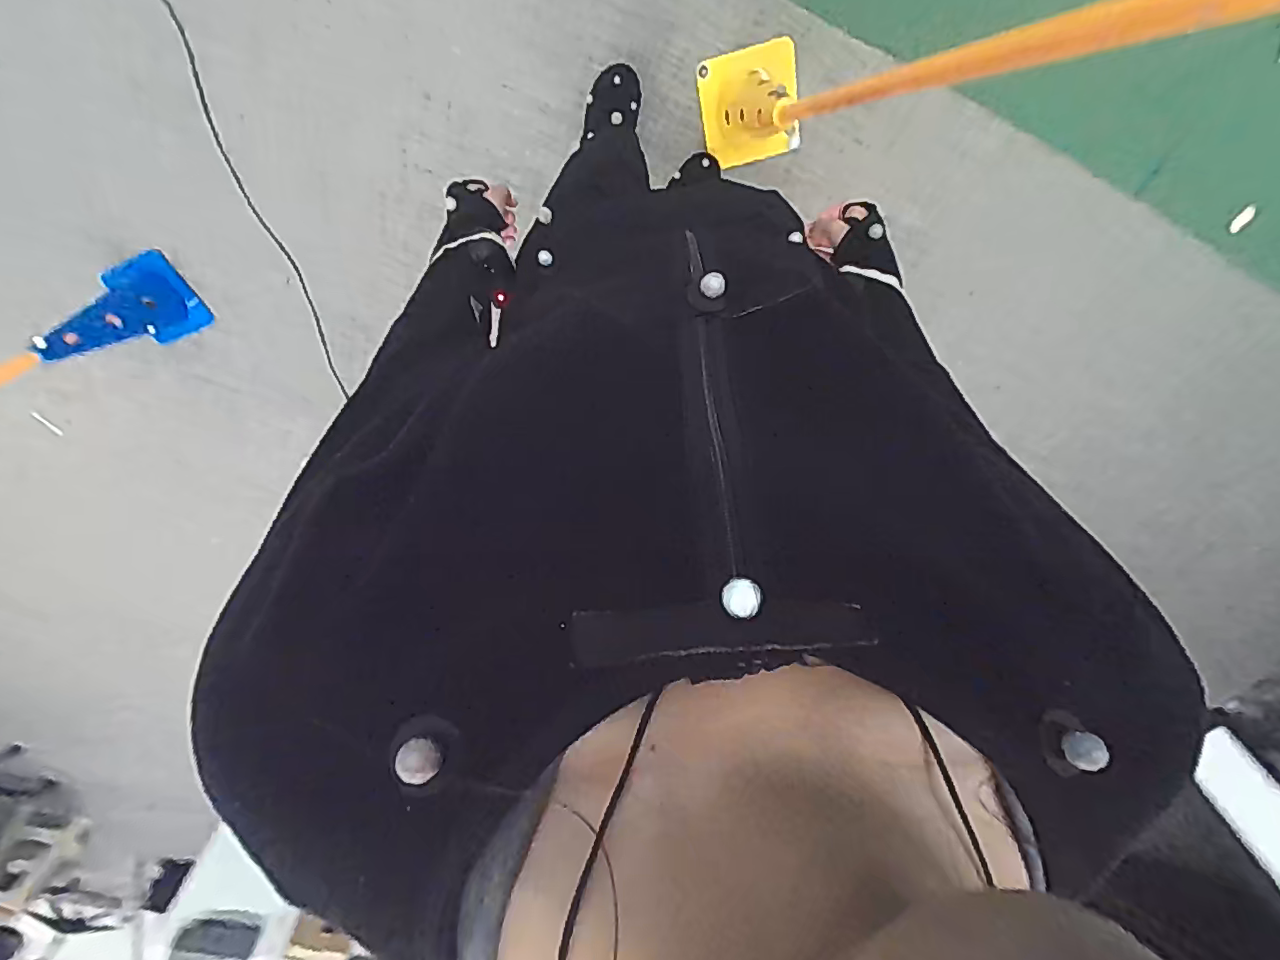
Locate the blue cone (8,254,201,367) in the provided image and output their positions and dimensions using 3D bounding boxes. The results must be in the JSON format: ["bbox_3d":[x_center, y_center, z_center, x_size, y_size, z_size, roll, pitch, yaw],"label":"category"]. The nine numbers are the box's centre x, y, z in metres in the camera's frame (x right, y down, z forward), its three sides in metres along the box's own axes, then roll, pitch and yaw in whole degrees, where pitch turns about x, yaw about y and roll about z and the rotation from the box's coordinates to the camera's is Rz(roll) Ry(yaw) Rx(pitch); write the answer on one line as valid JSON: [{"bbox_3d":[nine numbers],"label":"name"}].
[{"bbox_3d":[-1.246,-0.352,1.243,0.193,0.380,0.192,-16,125,15],"label":"blue cone"}]
